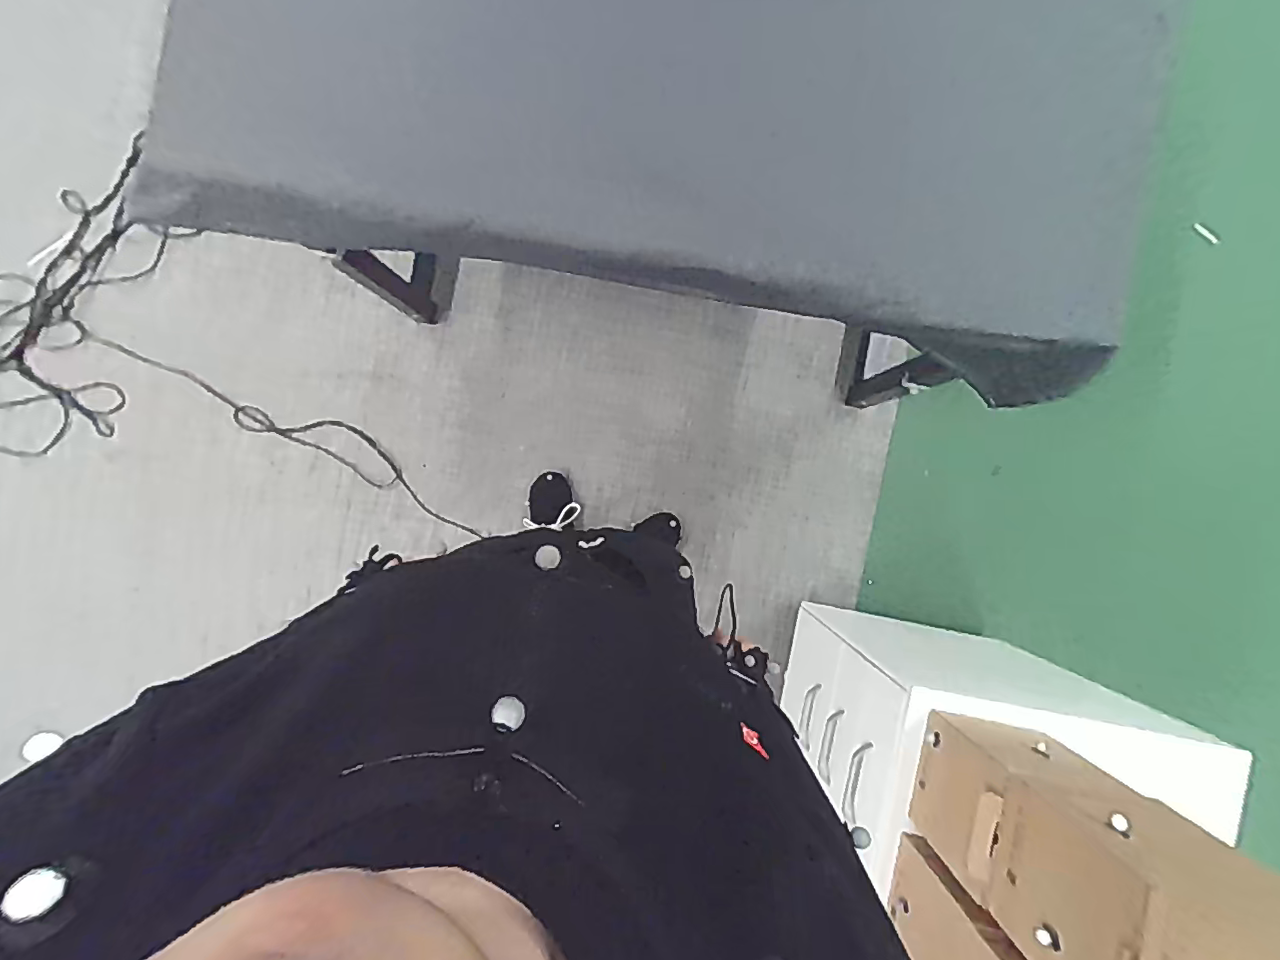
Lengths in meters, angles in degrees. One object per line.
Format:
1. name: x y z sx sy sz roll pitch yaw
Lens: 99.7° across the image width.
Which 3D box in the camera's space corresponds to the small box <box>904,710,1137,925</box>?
1. small box: 0.484 0.428 0.716 0.179 0.176 0.168 12 91 -2
